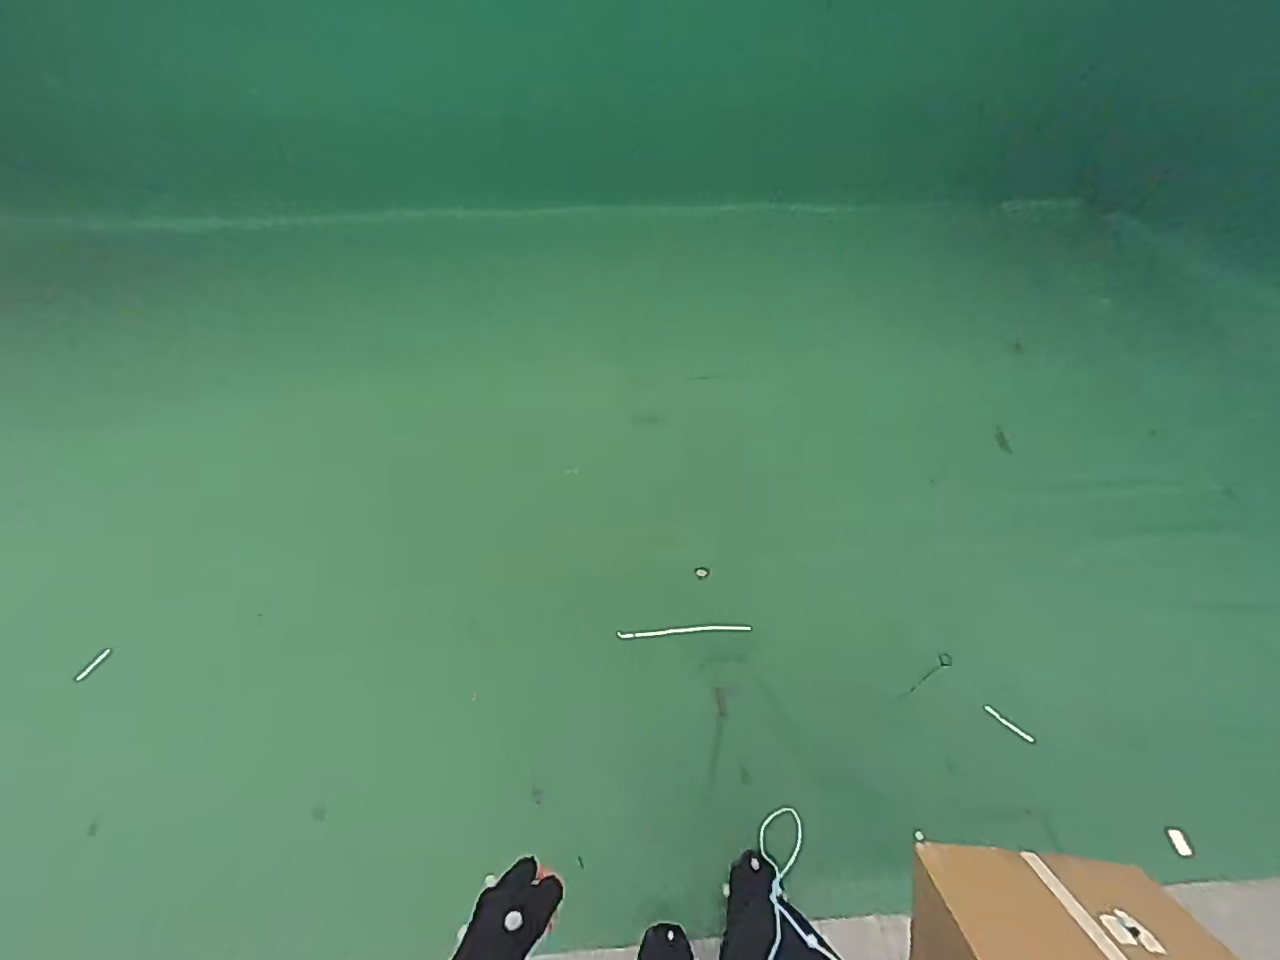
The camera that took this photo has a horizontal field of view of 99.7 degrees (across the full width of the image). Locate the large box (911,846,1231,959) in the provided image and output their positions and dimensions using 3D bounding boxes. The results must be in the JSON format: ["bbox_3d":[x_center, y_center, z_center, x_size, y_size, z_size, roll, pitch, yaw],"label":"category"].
[{"bbox_3d":[0.538,0.711,0.607,0.320,0.408,0.320,3,91,7],"label":"large box"}]
